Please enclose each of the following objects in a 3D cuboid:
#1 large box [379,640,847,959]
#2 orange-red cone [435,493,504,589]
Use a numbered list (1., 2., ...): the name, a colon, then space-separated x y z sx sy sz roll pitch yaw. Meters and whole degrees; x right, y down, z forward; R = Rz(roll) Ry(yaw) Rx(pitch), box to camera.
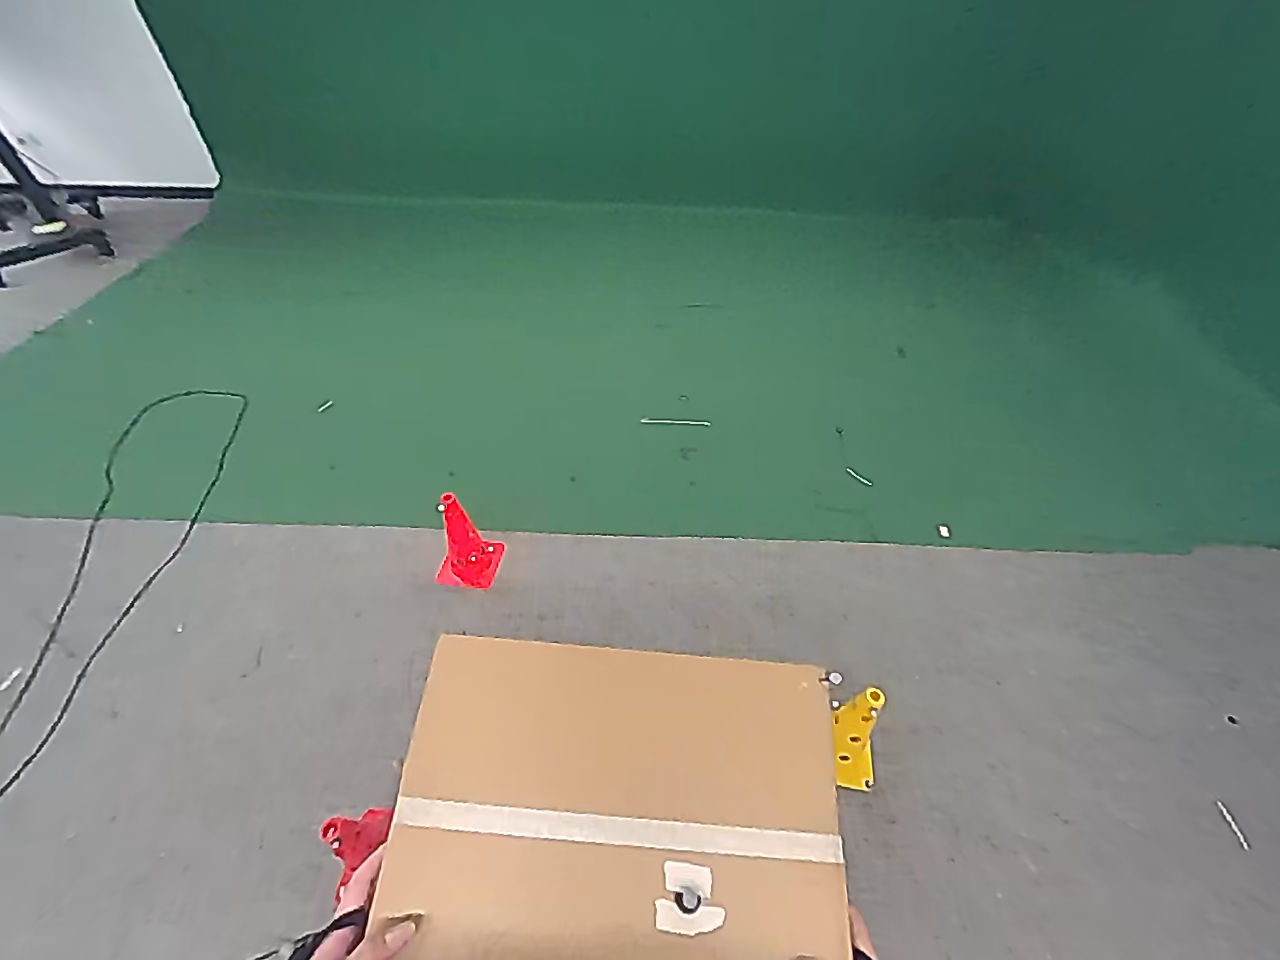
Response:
1. large box: -0.021 0.387 0.633 0.408 0.320 0.320 4 63 0
2. orange-red cone: -0.602 0.175 1.793 0.199 0.360 0.198 6 46 7
